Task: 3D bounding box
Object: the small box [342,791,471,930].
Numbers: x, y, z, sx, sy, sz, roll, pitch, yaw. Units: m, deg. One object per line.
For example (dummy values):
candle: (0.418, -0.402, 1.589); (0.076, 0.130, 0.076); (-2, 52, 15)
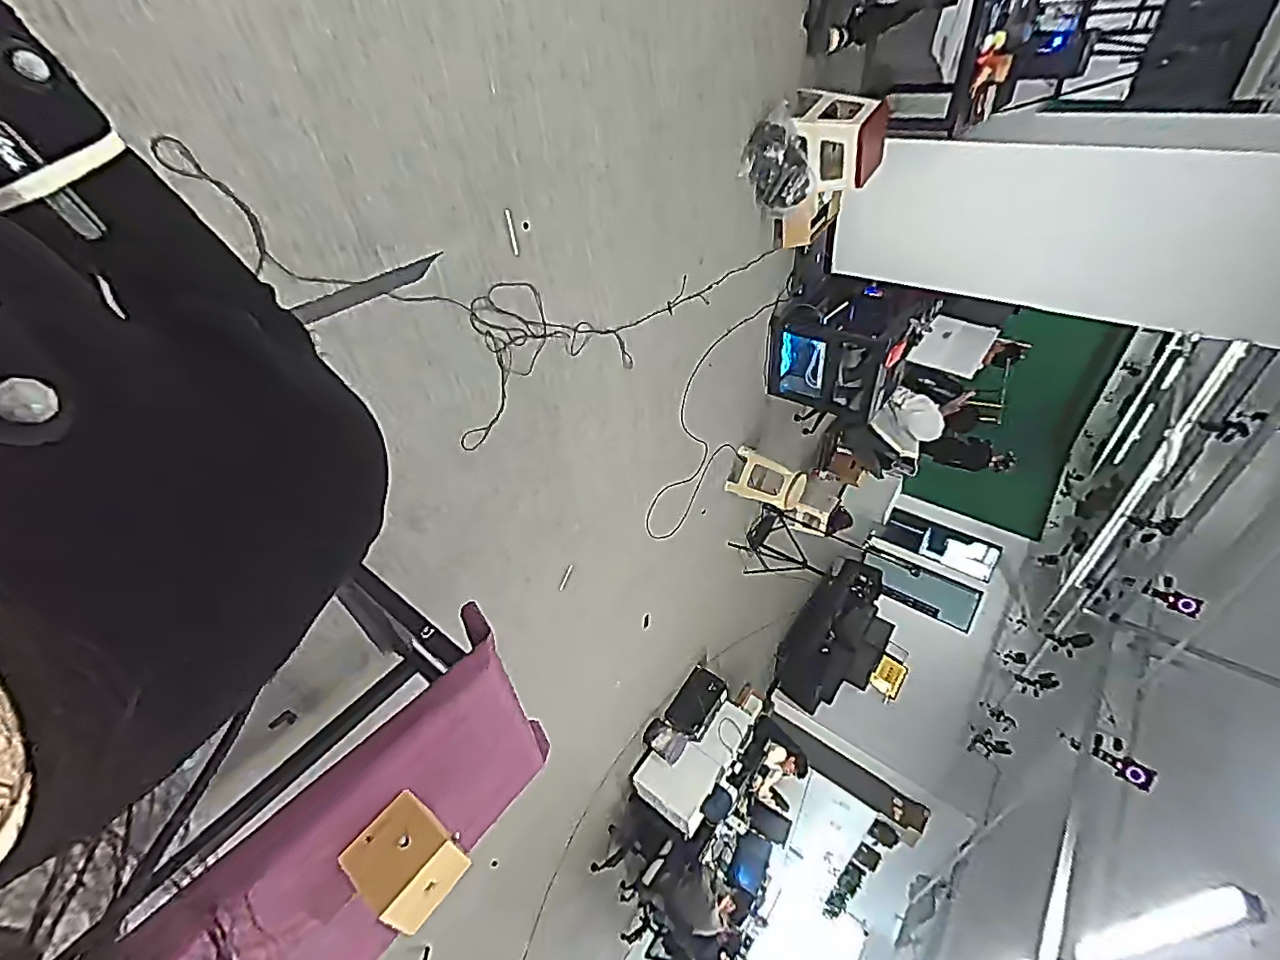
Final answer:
small box: (-0.506, 0.819, 1.176); (0.168, 0.176, 0.179); (-43, 143, -33)
